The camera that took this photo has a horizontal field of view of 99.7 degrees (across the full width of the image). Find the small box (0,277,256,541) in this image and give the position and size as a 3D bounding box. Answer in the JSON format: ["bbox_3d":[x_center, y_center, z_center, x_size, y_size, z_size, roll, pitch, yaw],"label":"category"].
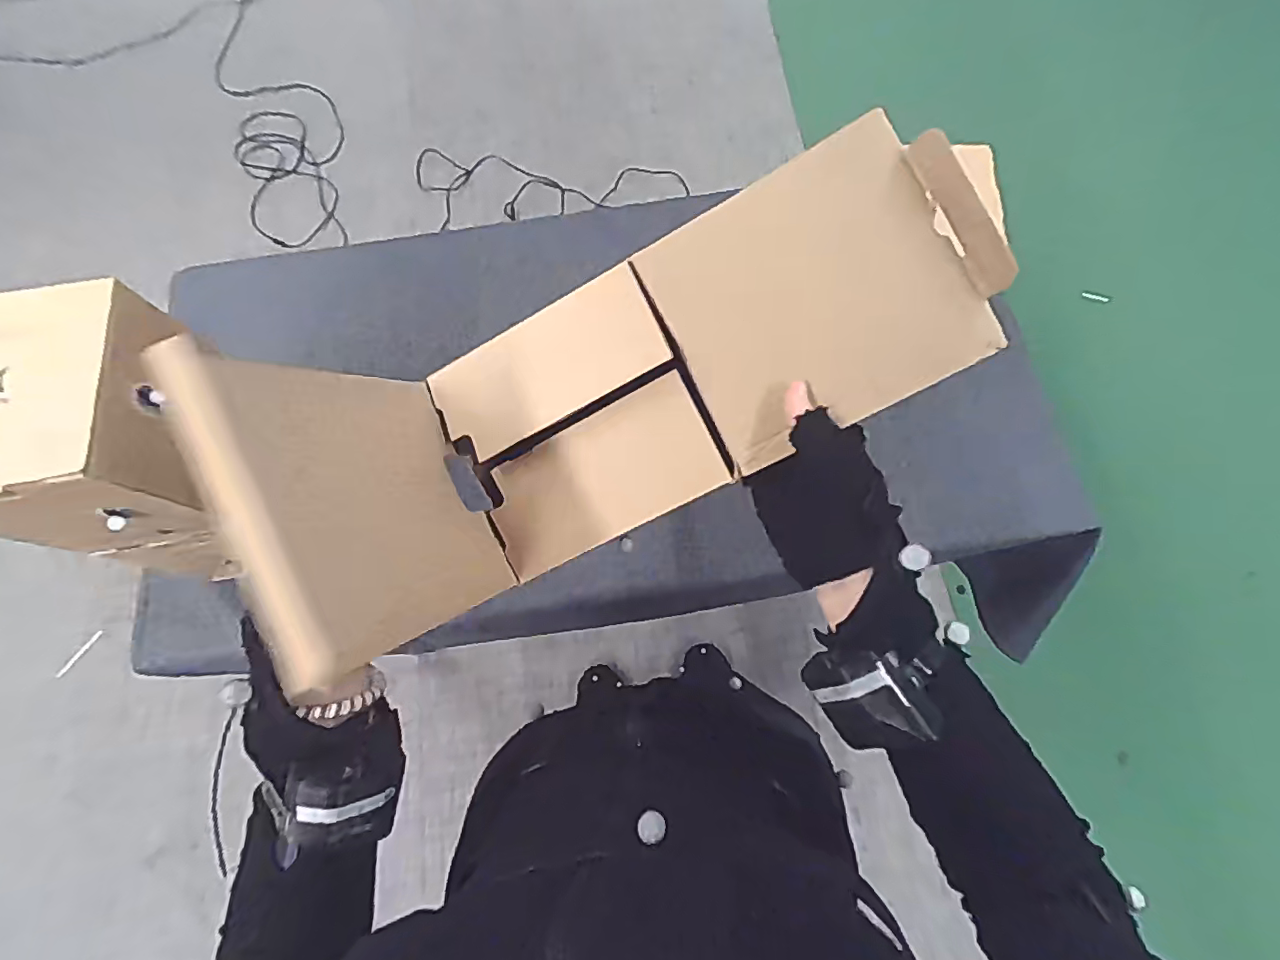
[{"bbox_3d":[-0.486,-0.048,0.488,0.168,0.176,0.179,-9,72,-2],"label":"small box"}]

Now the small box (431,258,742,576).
[{"bbox_3d":[-0.027,-0.041,0.449,0.179,0.176,0.168,-27,87,12],"label":"small box"}]

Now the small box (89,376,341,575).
[{"bbox_3d":[-0.481,0.003,0.643,0.168,0.176,0.179,-10,72,-2],"label":"small box"}]
